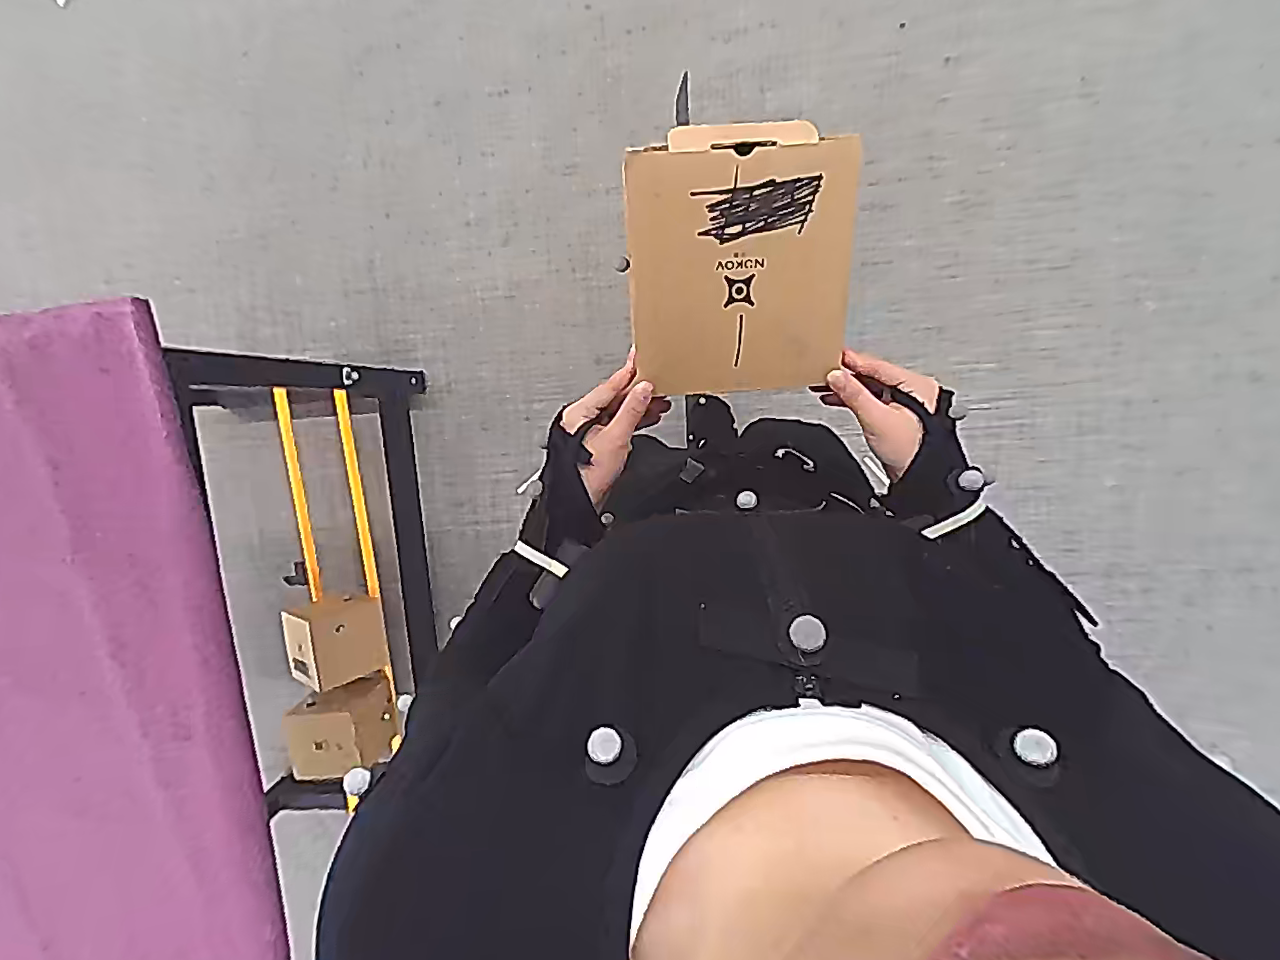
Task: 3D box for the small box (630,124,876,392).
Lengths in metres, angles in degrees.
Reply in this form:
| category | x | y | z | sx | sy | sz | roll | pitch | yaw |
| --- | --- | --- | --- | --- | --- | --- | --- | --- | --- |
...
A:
| category | x | y | z | sx | sy | sz | roll | pitch | yaw |
| --- | --- | --- | --- | --- | --- | --- | --- | --- | --- |
| small box | 0.078 | -0.185 | 0.465 | 0.168 | 0.176 | 0.179 | -3 | 115 | 0 |

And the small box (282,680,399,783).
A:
| category | x | y | z | sx | sy | sz | roll | pitch | yaw |
| --- | --- | --- | --- | --- | --- | --- | --- | --- | --- |
| small box | -0.729 | 0.614 | 1.333 | 0.179 | 0.176 | 0.168 | -6 | 98 | 5 |
